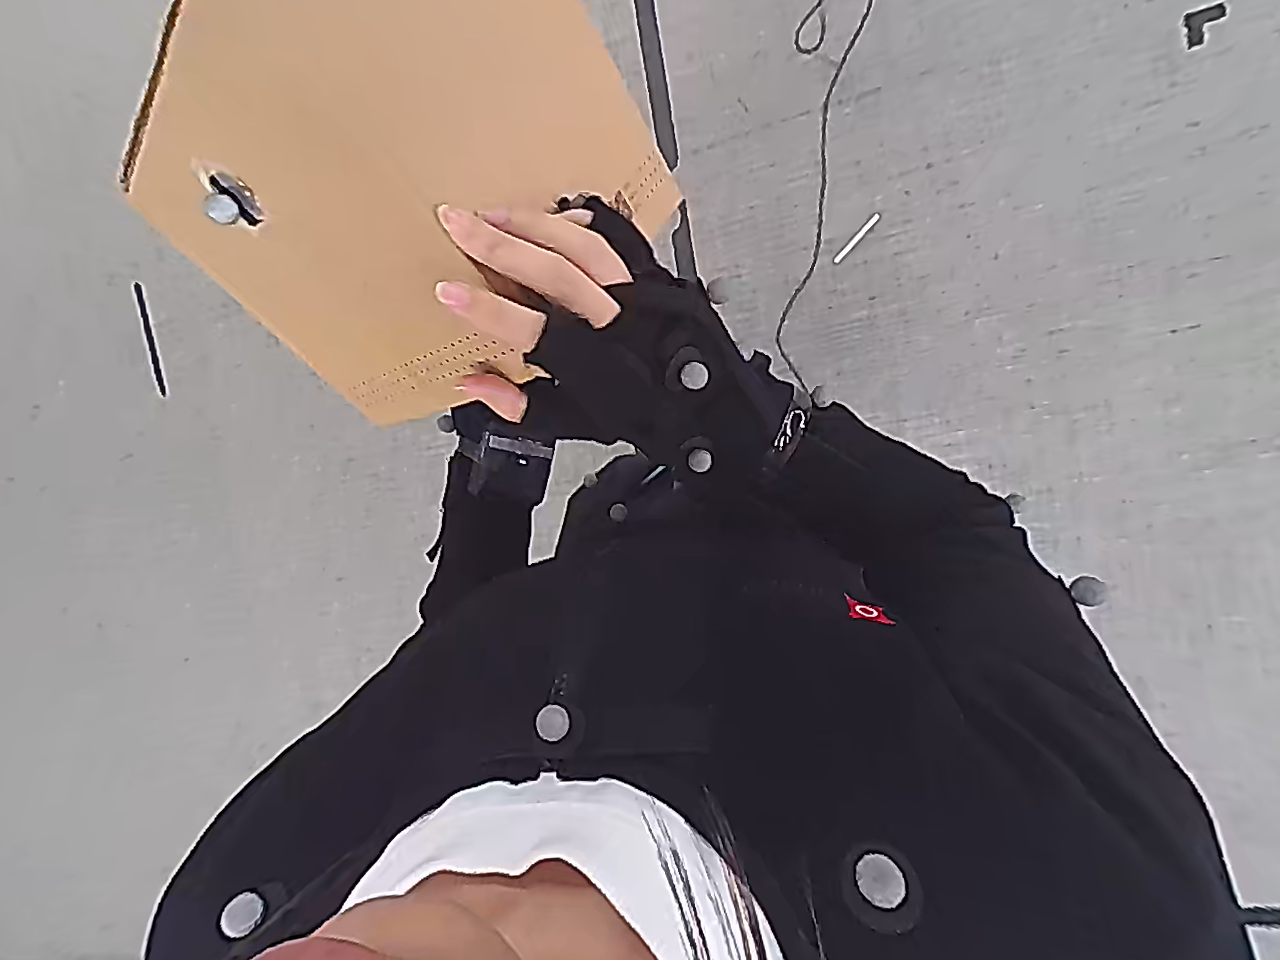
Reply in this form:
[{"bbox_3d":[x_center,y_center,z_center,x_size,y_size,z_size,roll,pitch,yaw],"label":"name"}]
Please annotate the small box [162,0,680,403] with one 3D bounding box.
[{"bbox_3d":[-0.109,-0.163,0.308,0.179,0.168,0.176,-5,137,42],"label":"small box"}]
